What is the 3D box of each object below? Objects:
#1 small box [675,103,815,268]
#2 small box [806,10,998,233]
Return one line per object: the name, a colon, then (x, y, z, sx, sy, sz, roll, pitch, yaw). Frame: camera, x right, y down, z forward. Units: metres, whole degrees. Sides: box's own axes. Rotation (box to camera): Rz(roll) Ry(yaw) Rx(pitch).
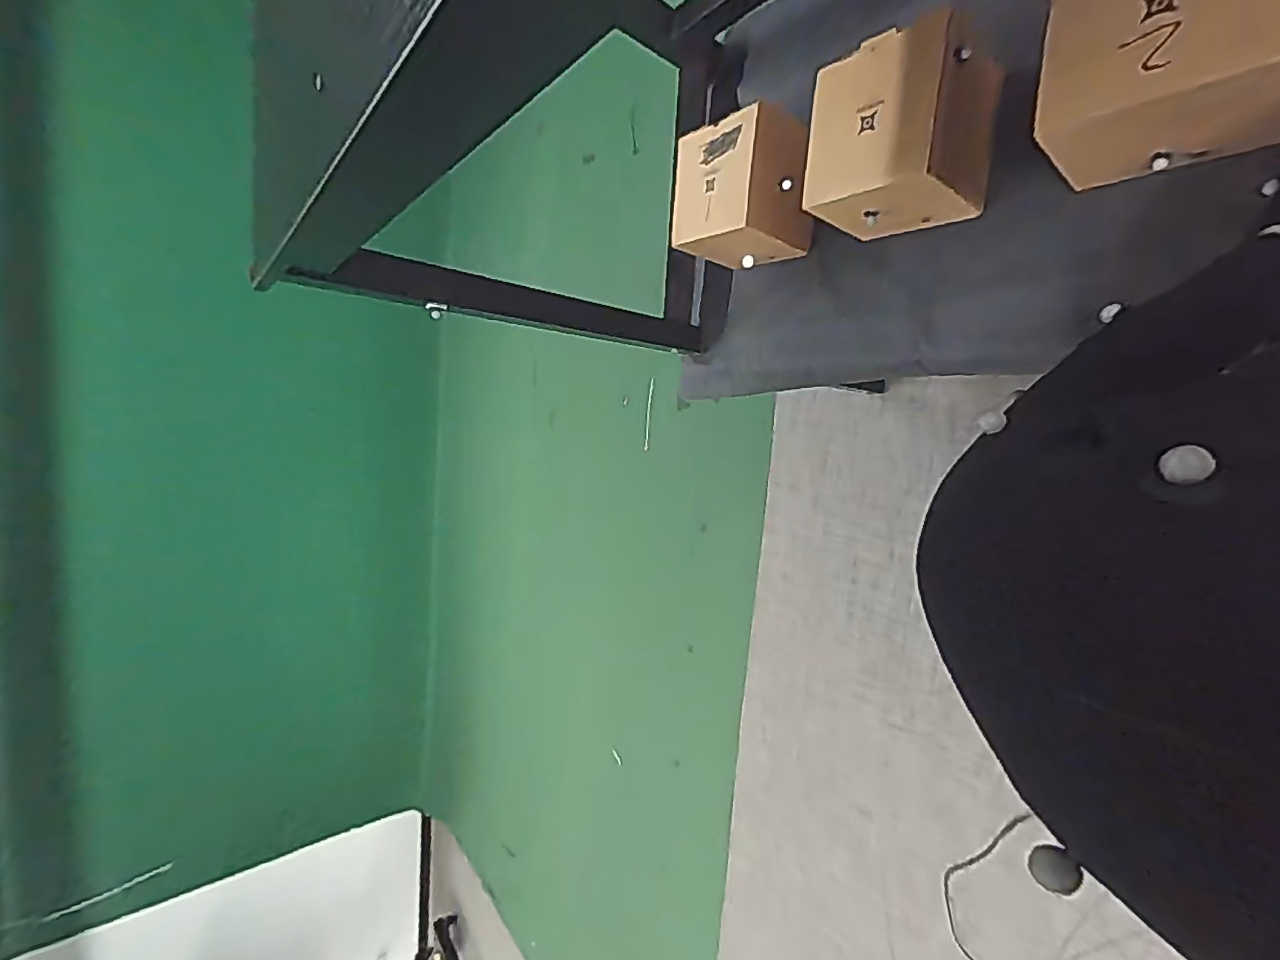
small box: (0.181, -0.473, 0.902, 0.168, 0.176, 0.179, 12, 101, 50)
small box: (0.344, -0.442, 0.711, 0.168, 0.176, 0.179, 12, 99, 49)
